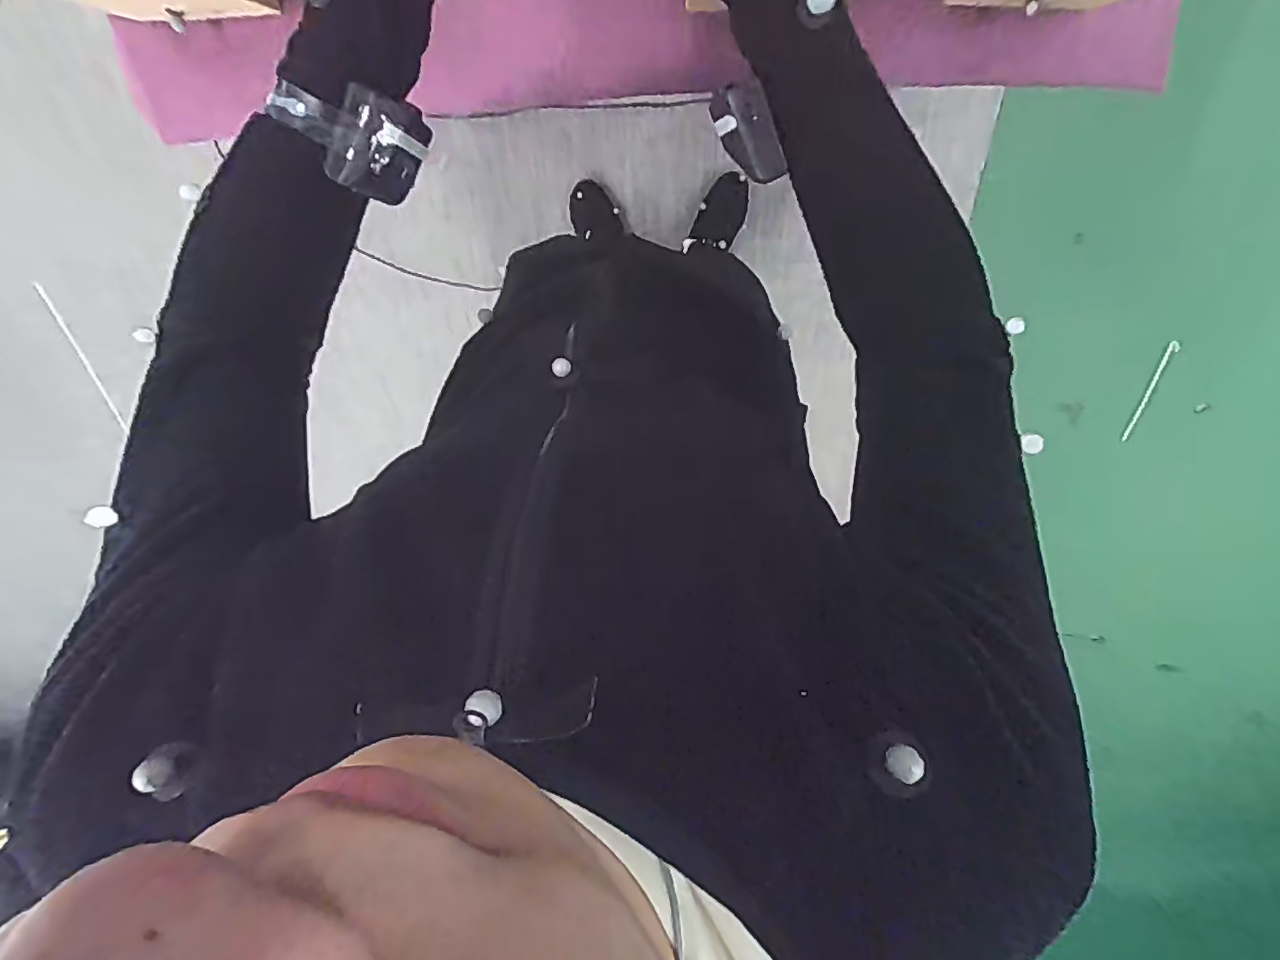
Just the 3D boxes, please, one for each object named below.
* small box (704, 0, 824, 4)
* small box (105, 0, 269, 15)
[{"bbox_3d":[0.128,-0.564,0.494,0.168,0.176,0.179,1,120,1],"label":"small box"},{"bbox_3d":[-0.499,-0.568,0.503,0.168,0.176,0.179,-1,122,2],"label":"small box"}]
